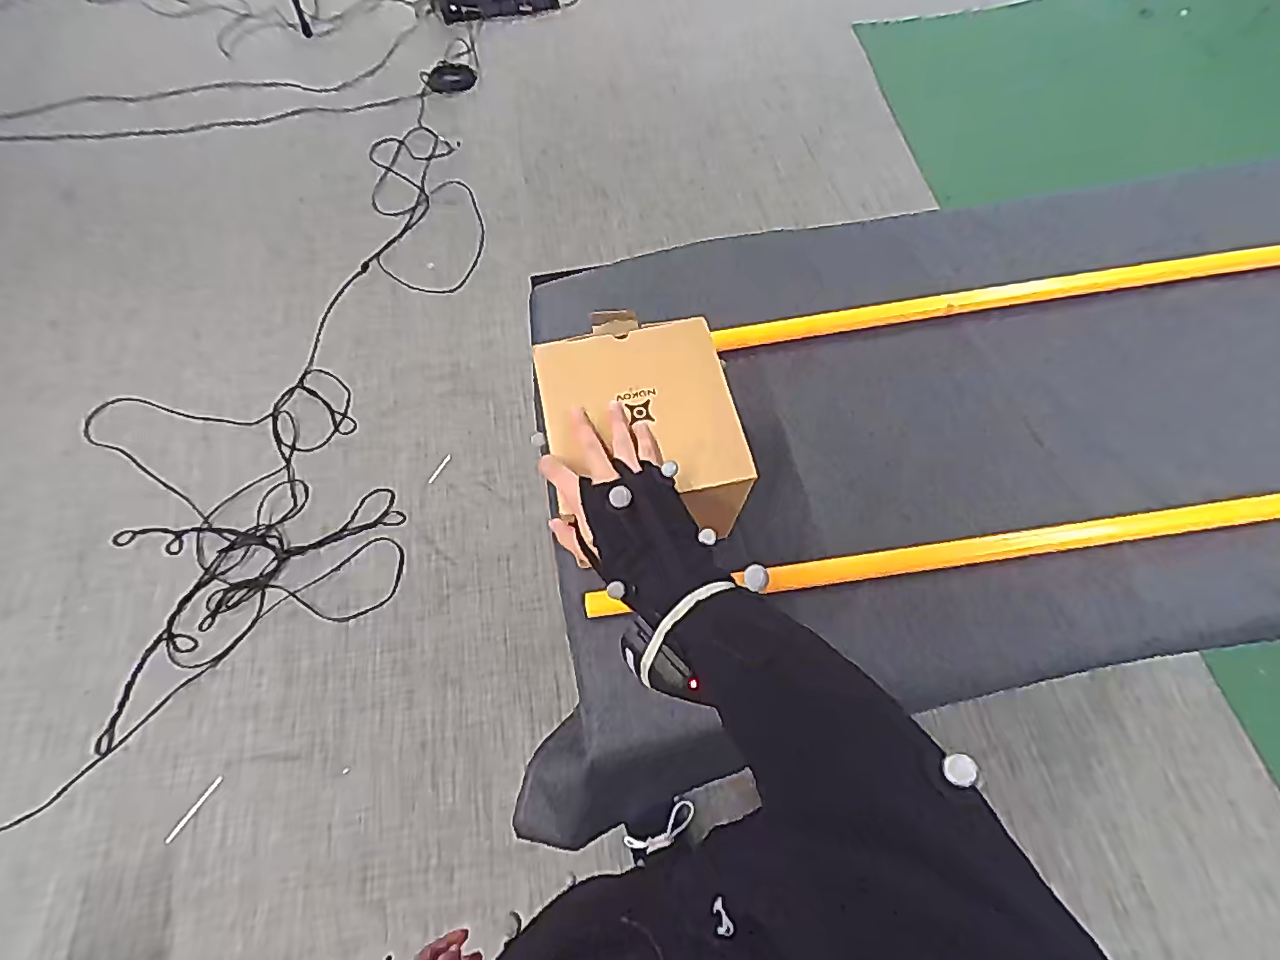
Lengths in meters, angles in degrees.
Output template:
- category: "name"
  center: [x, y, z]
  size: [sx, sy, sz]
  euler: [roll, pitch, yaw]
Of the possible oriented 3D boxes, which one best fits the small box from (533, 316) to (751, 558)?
- category: "small box"
  center: [-0.002, -0.031, 0.545]
  size: [0.168, 0.176, 0.179]
  euler: [-12, 65, -5]
